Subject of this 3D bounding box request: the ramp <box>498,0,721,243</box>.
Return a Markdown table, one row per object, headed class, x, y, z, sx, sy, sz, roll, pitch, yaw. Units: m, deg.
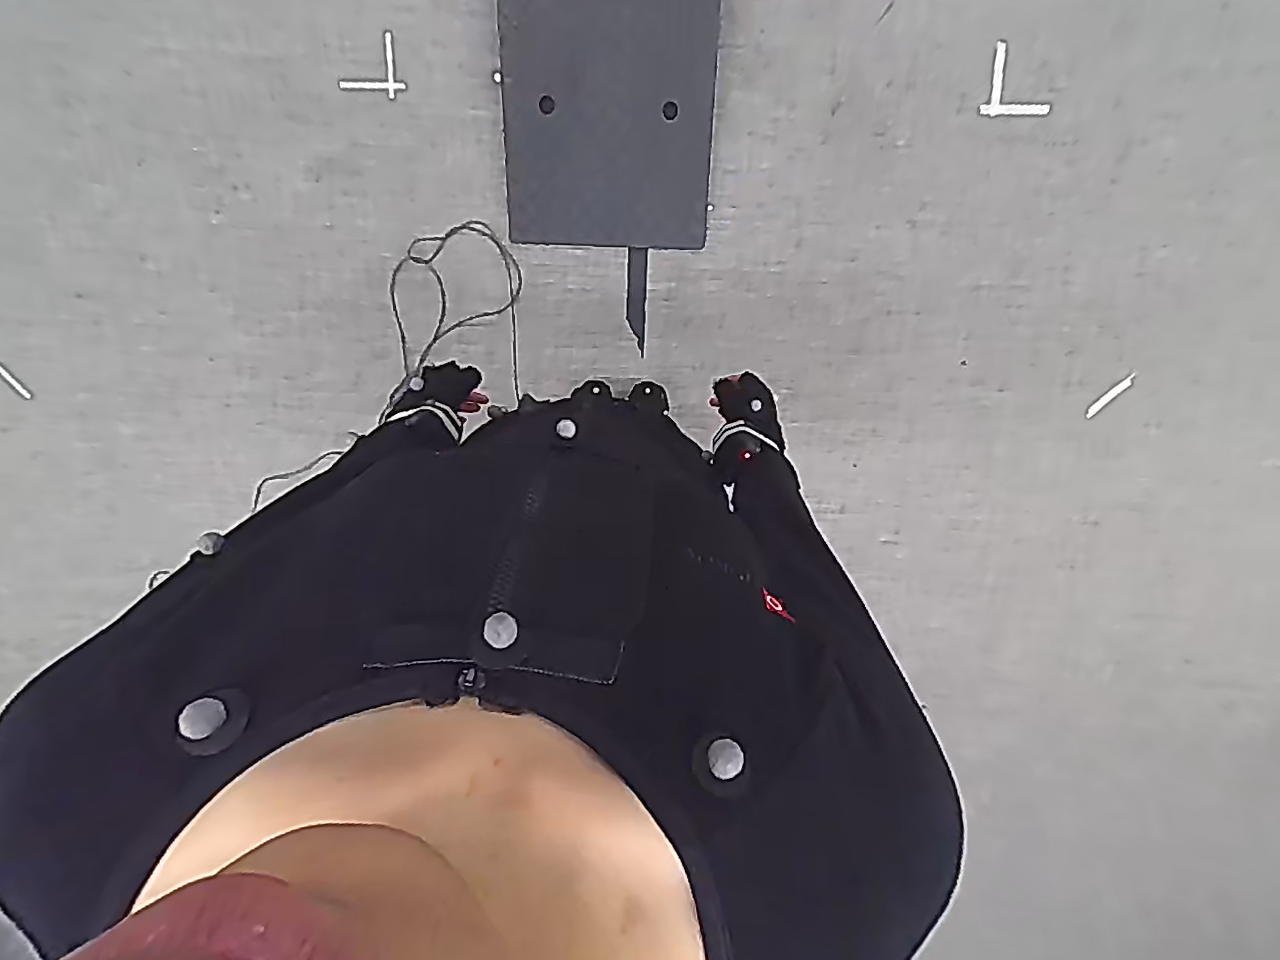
| class | x | y | z | sx | sy | sz | roll | pitch | yaw |
| --- | --- | --- | --- | --- | --- | --- | --- | --- | --- |
| ramp | -0.064 | -1.063 | 1.176 | 0.509 | 0.206 | 0.991 | -1 | 102 | -3 |
